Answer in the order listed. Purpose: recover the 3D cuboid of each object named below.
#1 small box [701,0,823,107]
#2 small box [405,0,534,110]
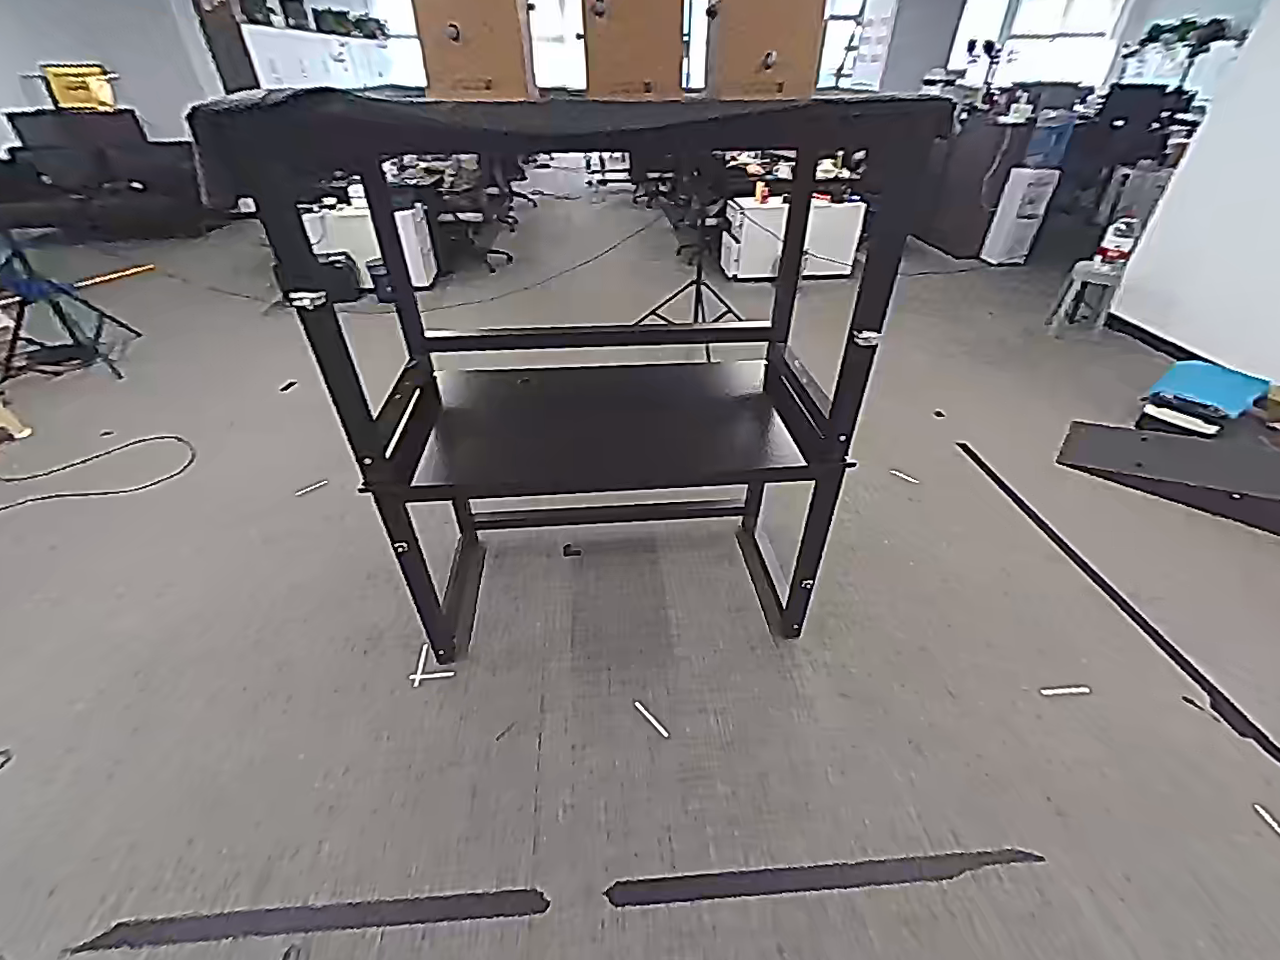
[{"bbox_3d":[0.202,-0.756,0.941,0.168,0.176,0.179,-3,37,-2],"label":"small box"},{"bbox_3d":[-0.279,-0.741,0.927,0.168,0.176,0.179,-2,36,-2],"label":"small box"}]
